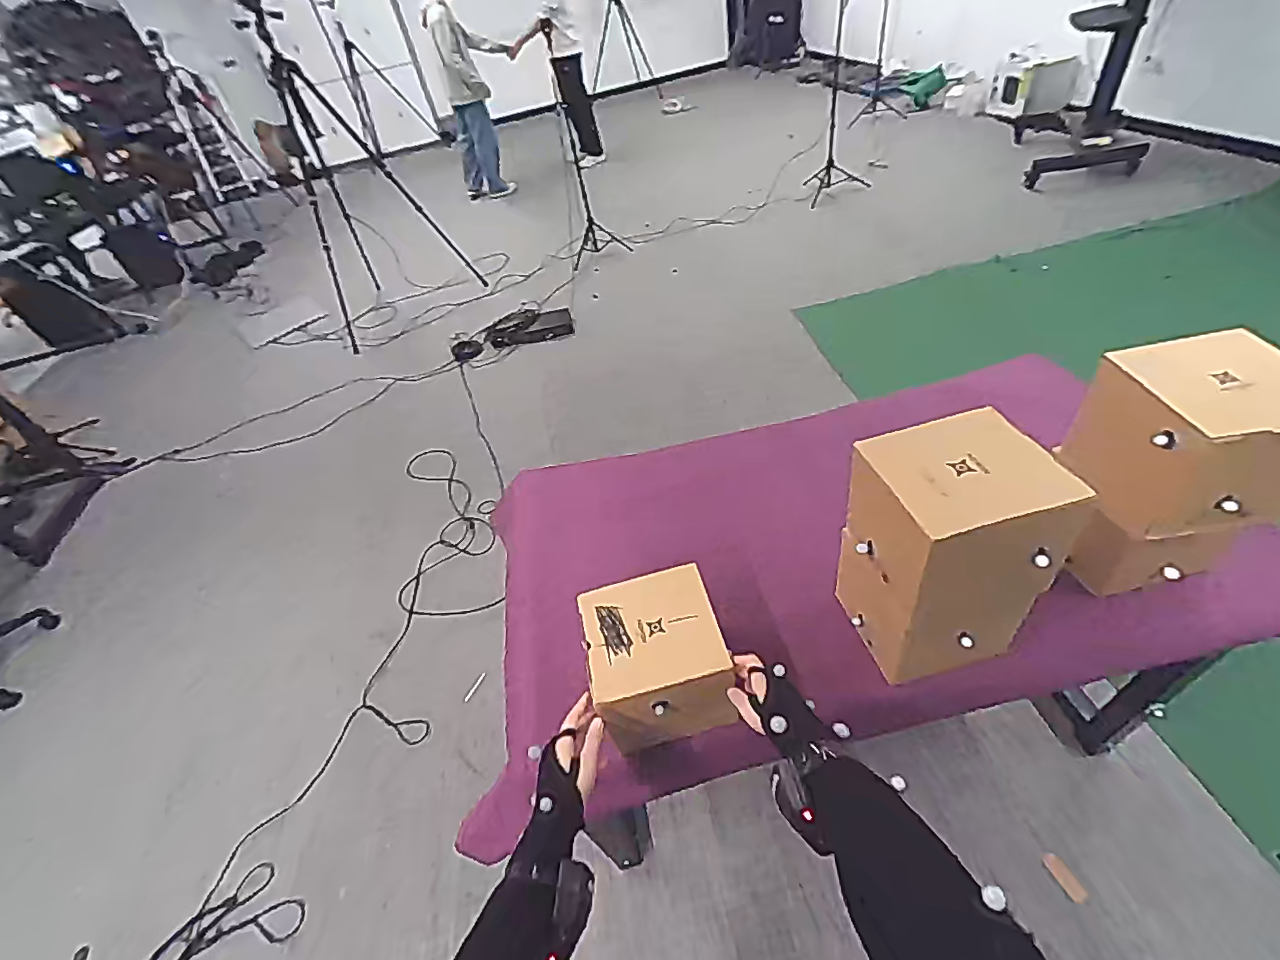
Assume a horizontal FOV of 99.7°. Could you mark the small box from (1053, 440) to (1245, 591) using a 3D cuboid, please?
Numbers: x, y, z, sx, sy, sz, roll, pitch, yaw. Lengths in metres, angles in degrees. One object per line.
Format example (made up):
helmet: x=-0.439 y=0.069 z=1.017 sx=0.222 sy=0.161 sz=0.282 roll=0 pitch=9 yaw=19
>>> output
small box: x=0.717 y=0.036 z=0.792 sx=0.179 sy=0.176 sz=0.168 roll=-15 pitch=42 yaw=-1

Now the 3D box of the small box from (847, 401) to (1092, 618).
small box: x=0.366 y=0.037 z=0.643 sx=0.179 sy=0.176 sz=0.168 roll=-15 pitch=41 yaw=0

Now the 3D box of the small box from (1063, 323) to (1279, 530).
small box: x=0.676 y=-0.065 z=0.667 sx=0.168 sy=0.176 sz=0.179 roll=-10 pitch=43 yaw=5
